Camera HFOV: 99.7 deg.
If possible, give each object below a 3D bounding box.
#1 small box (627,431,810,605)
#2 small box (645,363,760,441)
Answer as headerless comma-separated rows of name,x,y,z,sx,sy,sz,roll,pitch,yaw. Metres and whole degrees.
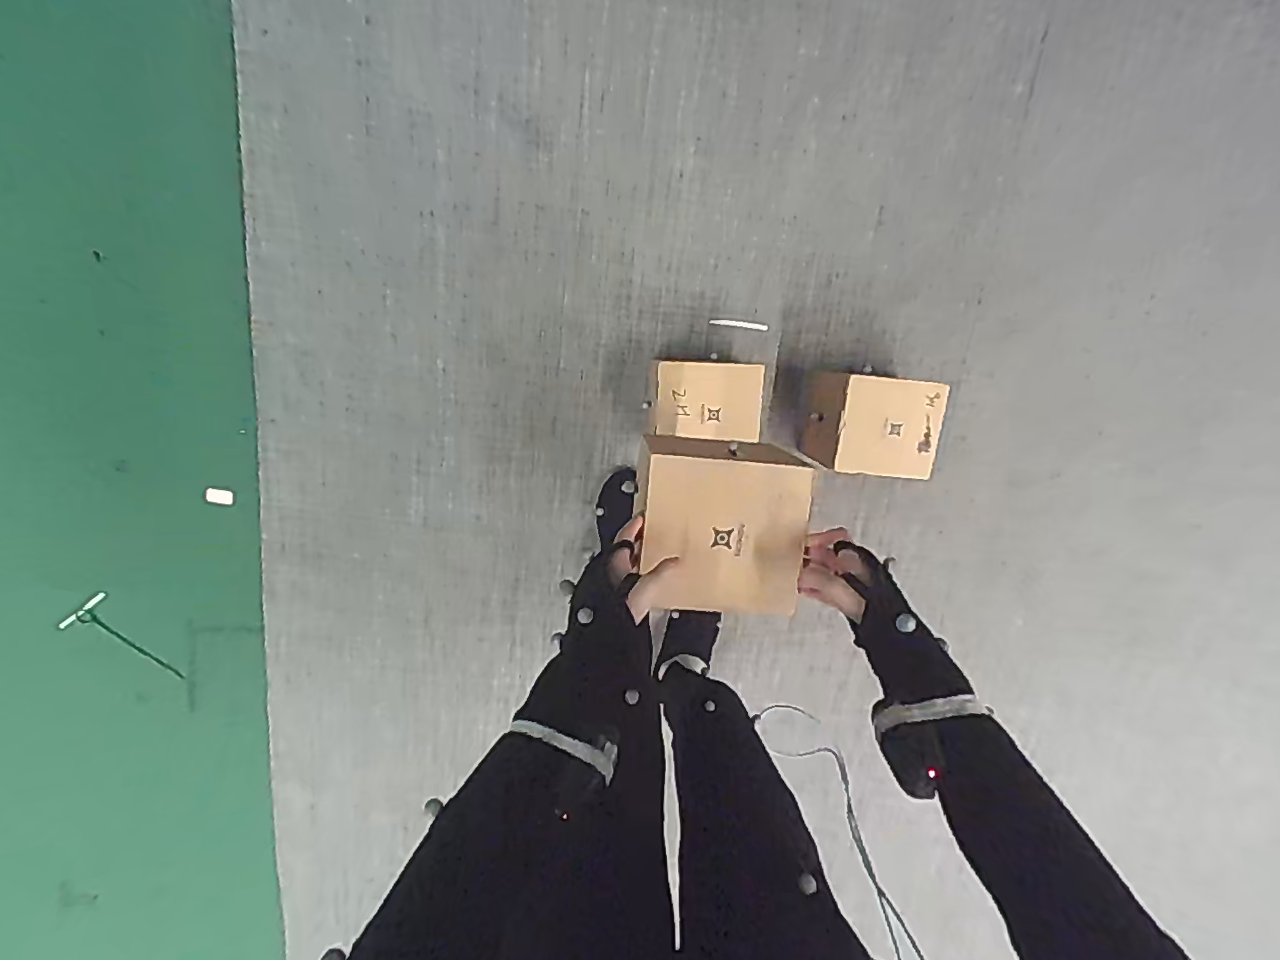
small box,0.080,0.036,0.655,0.179,0.176,0.168,5,101,-4
small box,0.104,-0.122,0.975,0.179,0.176,0.168,2,102,-3
